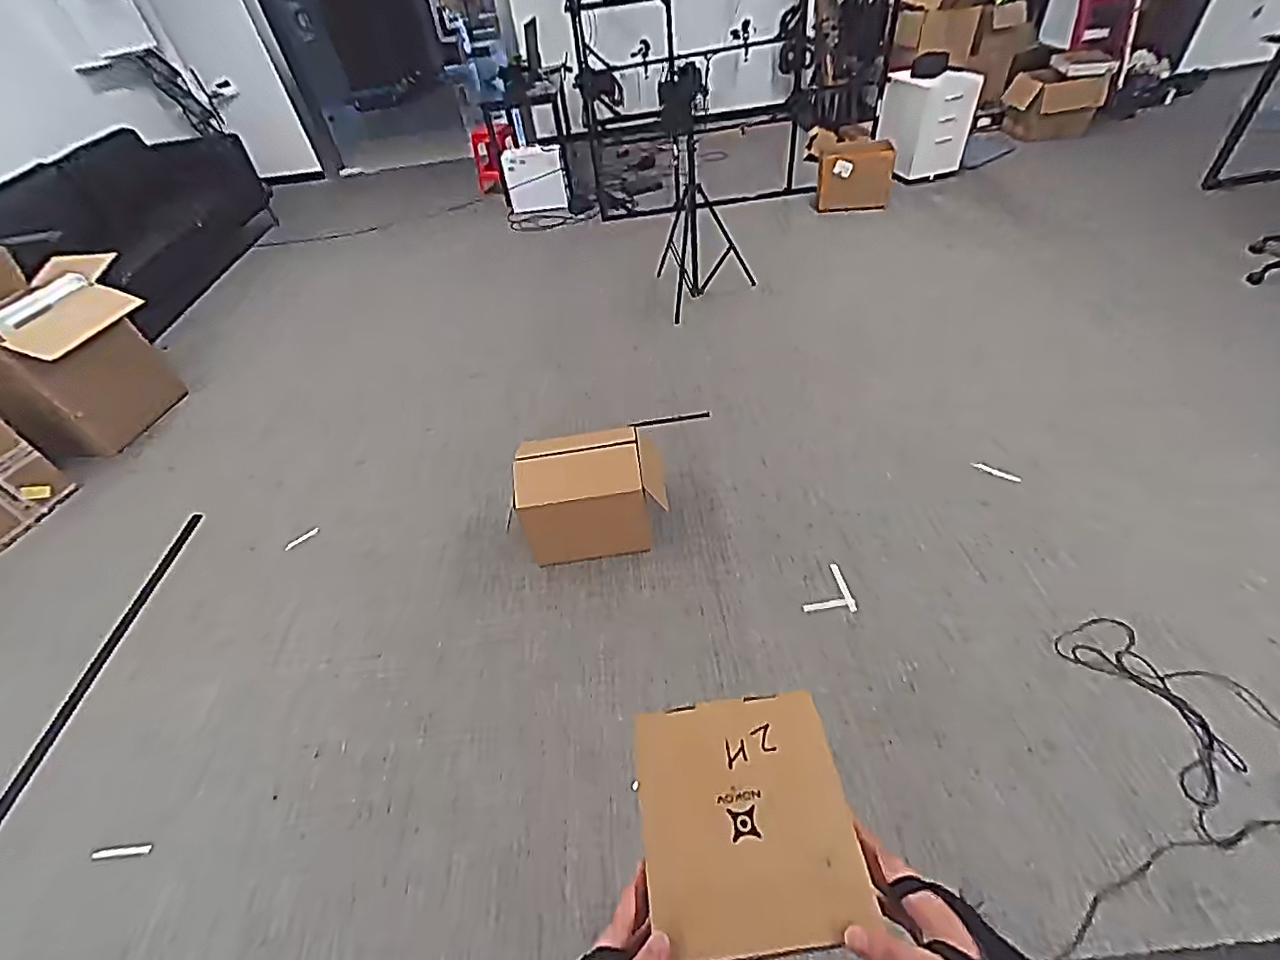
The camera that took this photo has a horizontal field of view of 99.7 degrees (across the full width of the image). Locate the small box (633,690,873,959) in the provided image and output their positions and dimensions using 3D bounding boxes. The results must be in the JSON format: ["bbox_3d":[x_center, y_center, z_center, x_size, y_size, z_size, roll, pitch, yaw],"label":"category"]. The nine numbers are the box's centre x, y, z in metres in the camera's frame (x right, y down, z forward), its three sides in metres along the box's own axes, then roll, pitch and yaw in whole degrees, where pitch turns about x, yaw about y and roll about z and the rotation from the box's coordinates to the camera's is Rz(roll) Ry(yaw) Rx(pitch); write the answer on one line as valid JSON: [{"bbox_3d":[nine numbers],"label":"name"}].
[{"bbox_3d":[0.089,0.322,0.502,0.168,0.176,0.179,-8,46,-1],"label":"small box"}]
